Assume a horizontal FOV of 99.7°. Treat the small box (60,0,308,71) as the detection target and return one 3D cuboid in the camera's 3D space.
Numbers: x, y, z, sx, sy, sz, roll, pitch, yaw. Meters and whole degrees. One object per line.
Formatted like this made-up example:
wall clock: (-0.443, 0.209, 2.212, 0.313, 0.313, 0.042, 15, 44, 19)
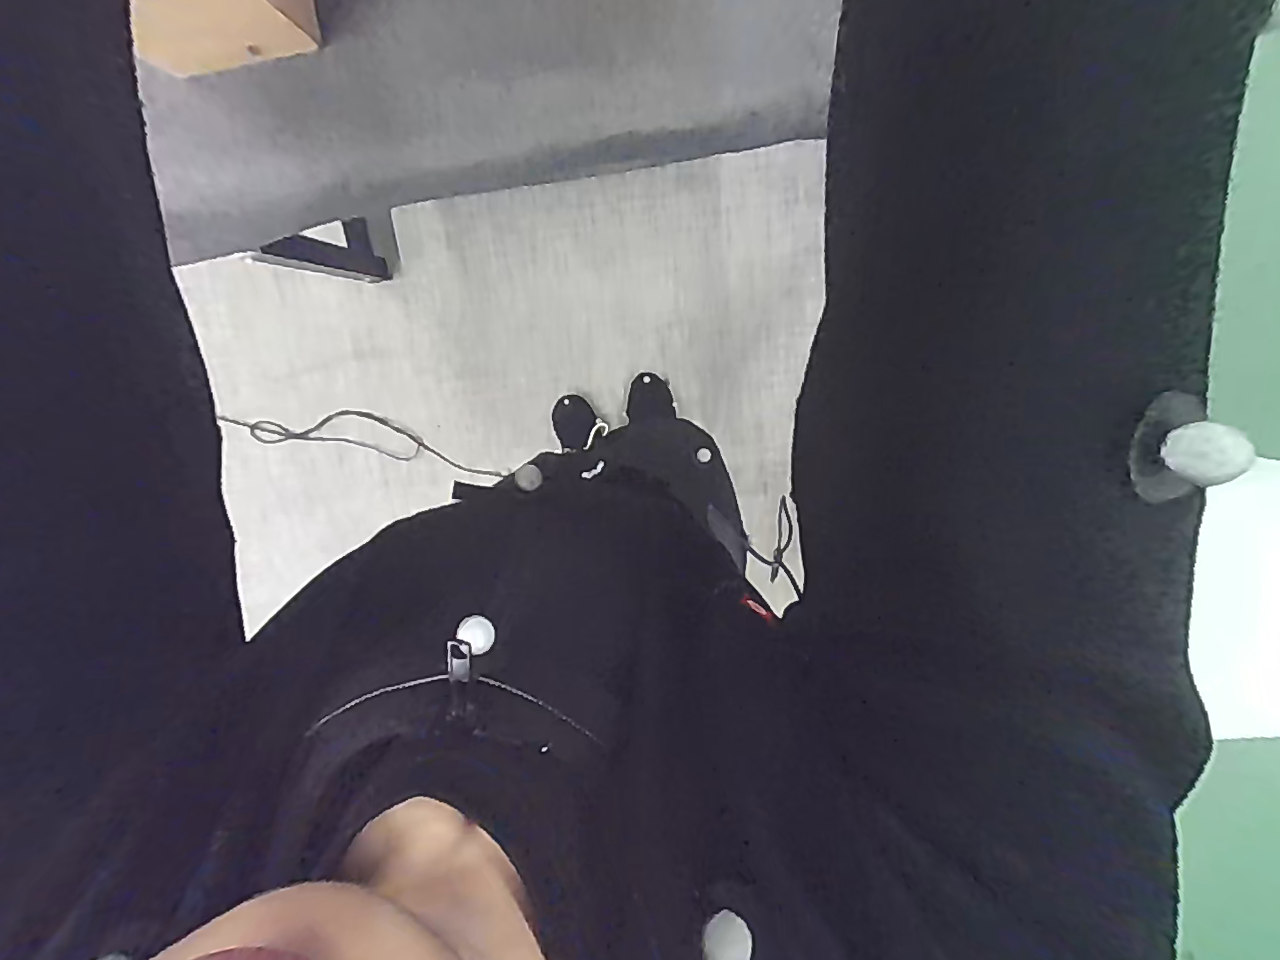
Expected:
small box: (-0.416, -0.485, 0.443, 0.168, 0.176, 0.179, -7, 103, 4)
